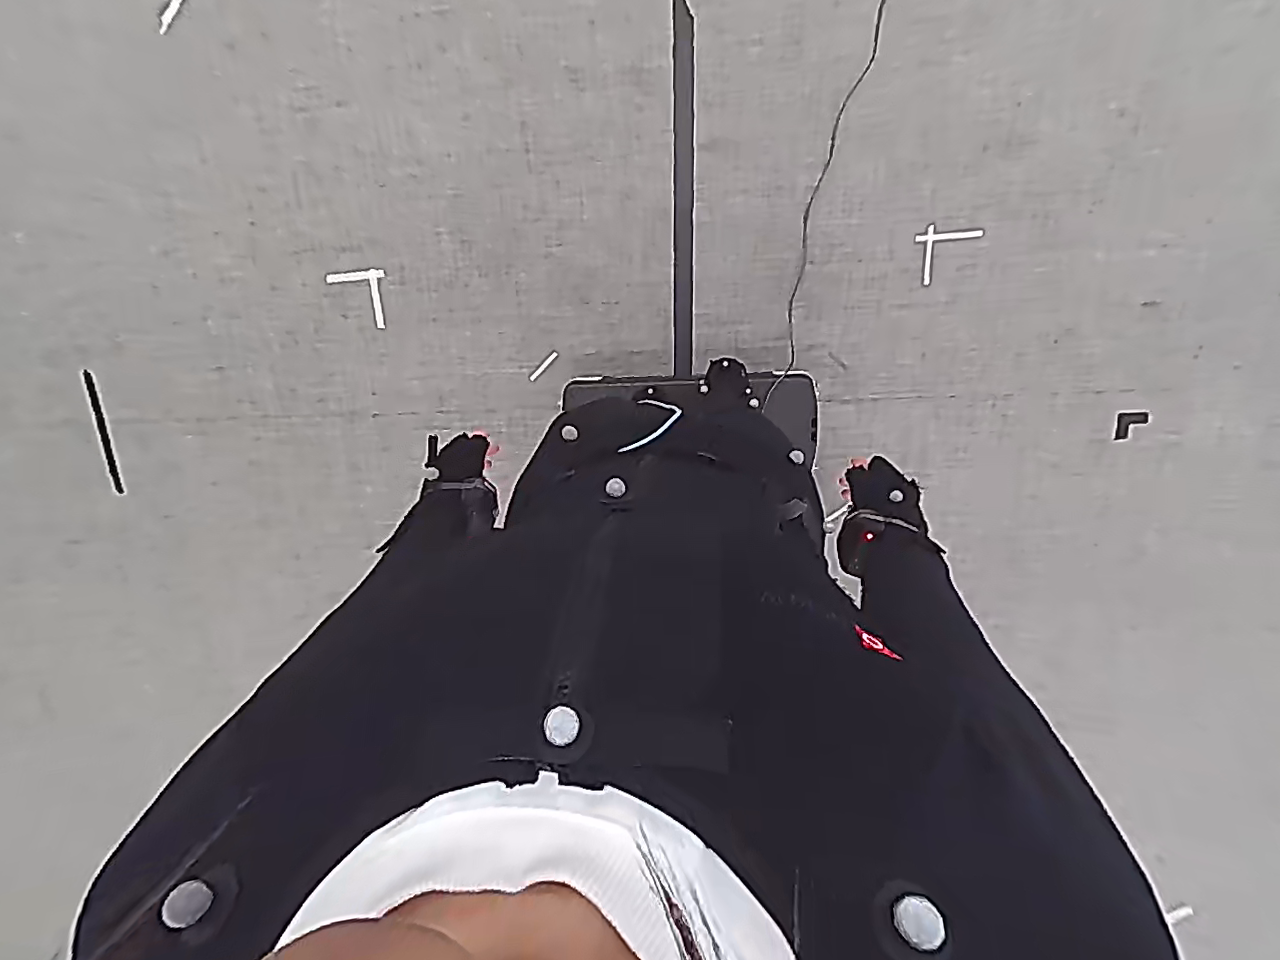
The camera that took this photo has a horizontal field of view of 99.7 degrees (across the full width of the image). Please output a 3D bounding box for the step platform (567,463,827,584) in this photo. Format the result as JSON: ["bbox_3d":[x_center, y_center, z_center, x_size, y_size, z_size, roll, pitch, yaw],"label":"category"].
[{"bbox_3d":[0.146,0.119,1.461,0.684,0.204,0.286,-1,103,8],"label":"step platform"}]
